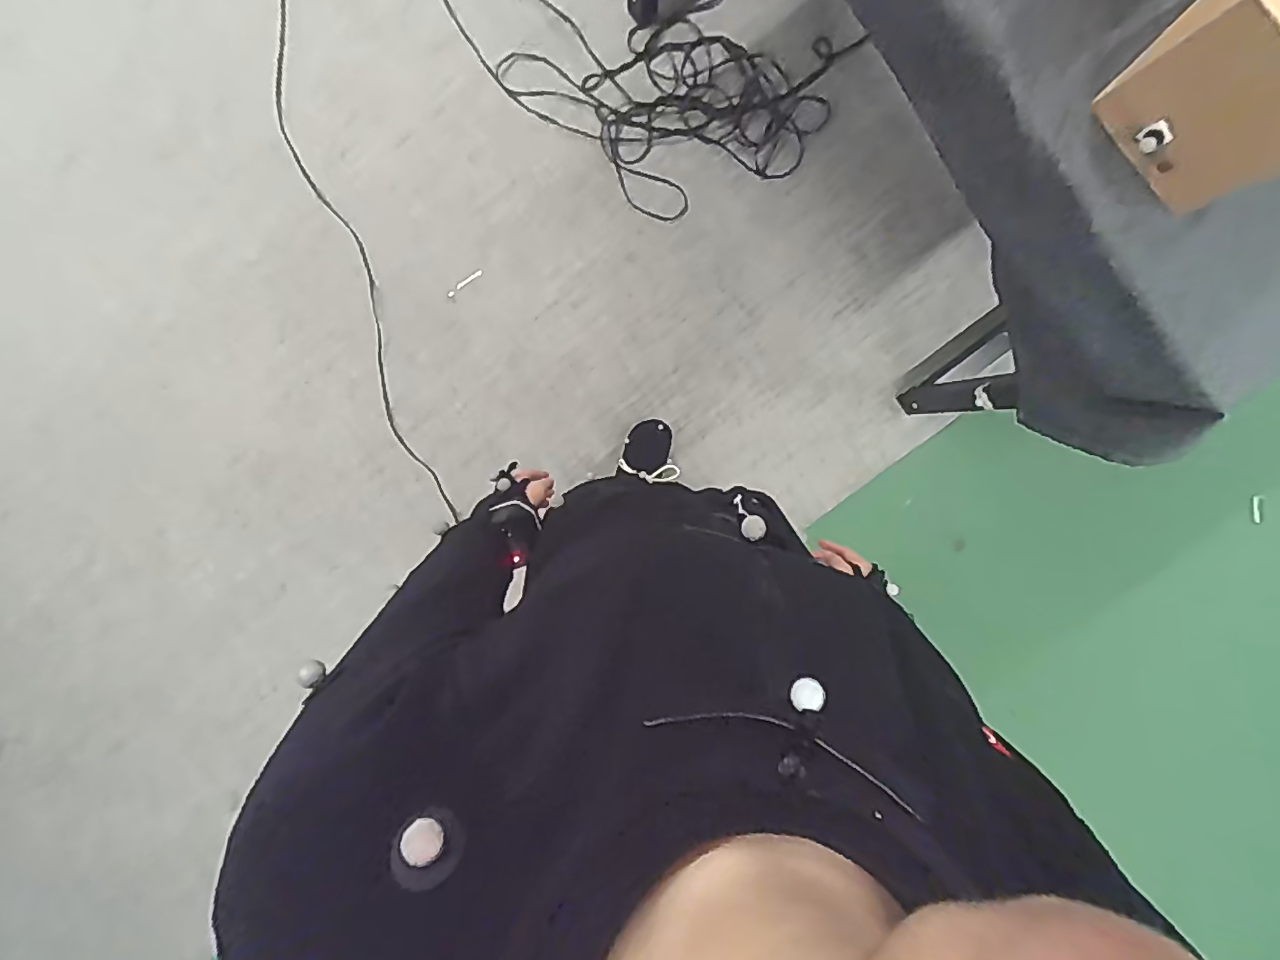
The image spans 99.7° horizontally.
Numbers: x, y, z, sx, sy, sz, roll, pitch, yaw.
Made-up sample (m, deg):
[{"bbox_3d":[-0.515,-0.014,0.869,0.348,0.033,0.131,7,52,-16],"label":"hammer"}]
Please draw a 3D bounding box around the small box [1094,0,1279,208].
[{"bbox_3d":[0.615,-0.413,0.526,0.179,0.176,0.168,-45,94,3],"label":"small box"}]
